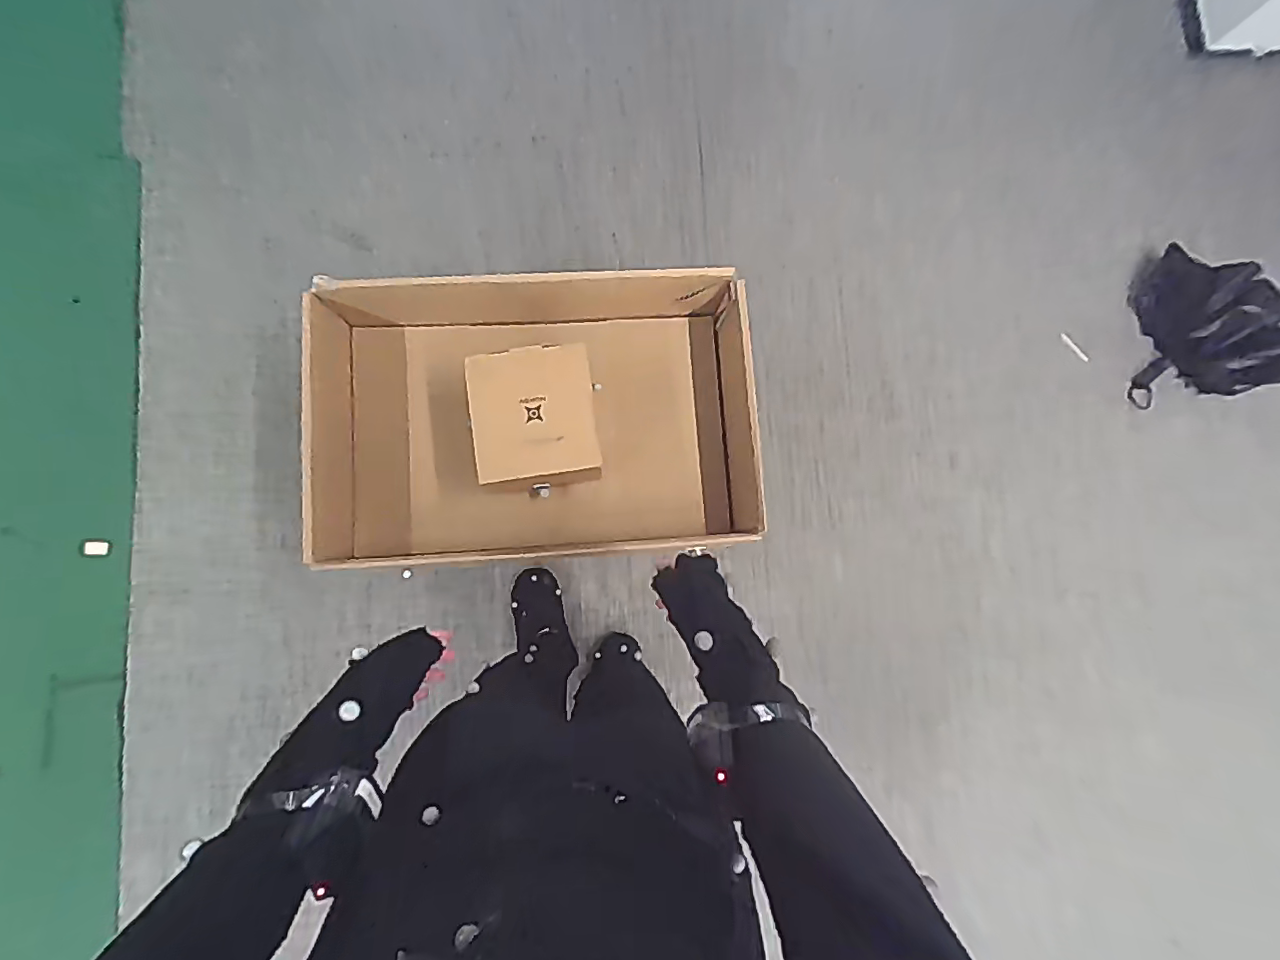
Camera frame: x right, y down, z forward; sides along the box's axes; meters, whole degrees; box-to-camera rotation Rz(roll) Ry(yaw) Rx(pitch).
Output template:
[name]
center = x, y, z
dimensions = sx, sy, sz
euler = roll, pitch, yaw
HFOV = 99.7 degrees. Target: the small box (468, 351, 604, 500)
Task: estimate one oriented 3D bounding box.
[small box]
center = -0.146, -0.072, 0.799
dimensions = 0.168, 0.176, 0.179
euler = -8, 84, -5
